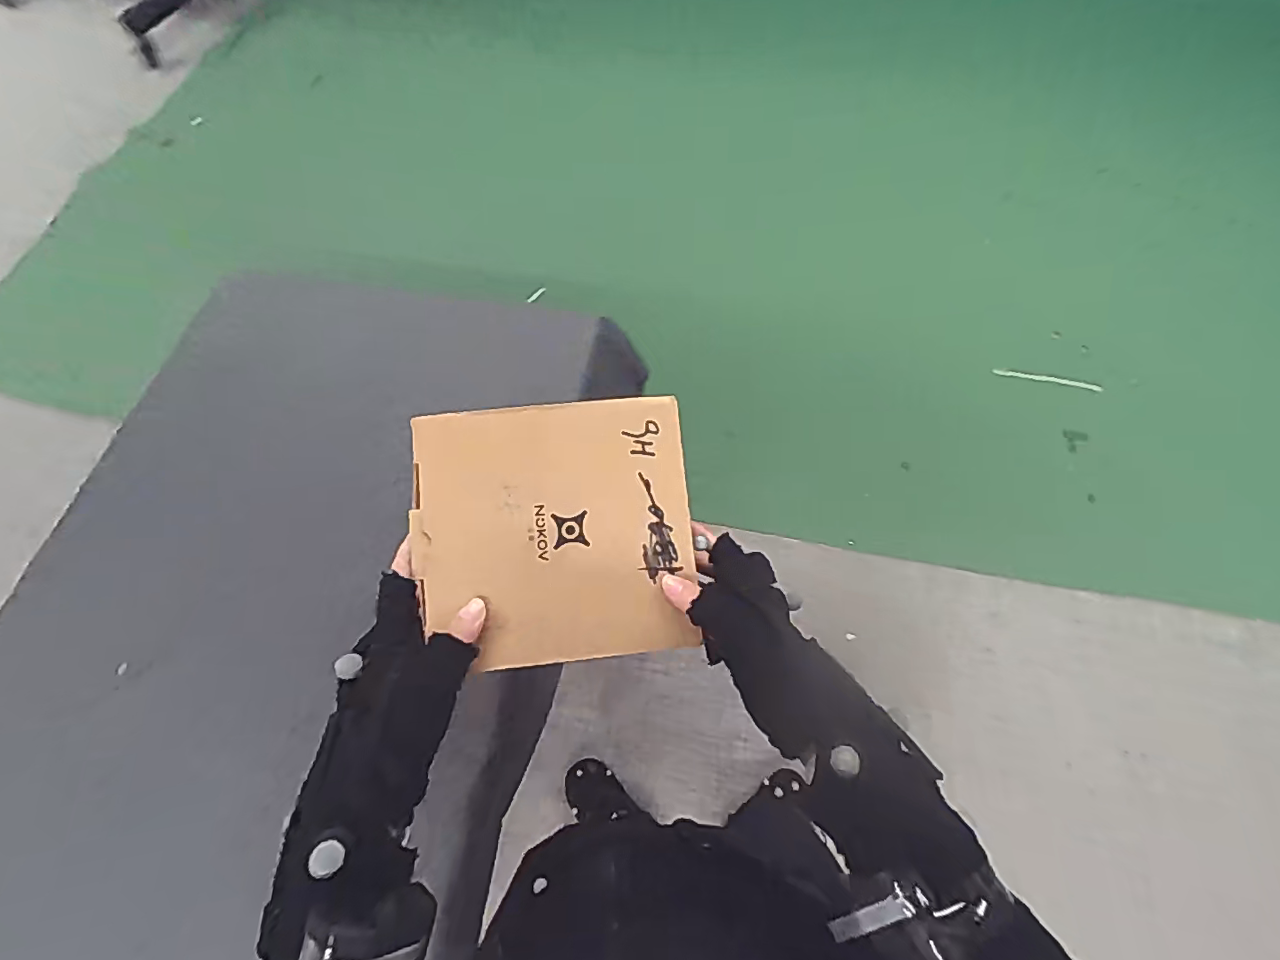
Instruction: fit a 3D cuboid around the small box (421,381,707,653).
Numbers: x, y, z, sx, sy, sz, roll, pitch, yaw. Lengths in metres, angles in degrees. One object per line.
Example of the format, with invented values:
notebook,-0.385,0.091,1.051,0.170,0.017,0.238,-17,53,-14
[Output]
small box,-0.056,0.034,0.434,0.179,0.176,0.168,-7,81,-5
